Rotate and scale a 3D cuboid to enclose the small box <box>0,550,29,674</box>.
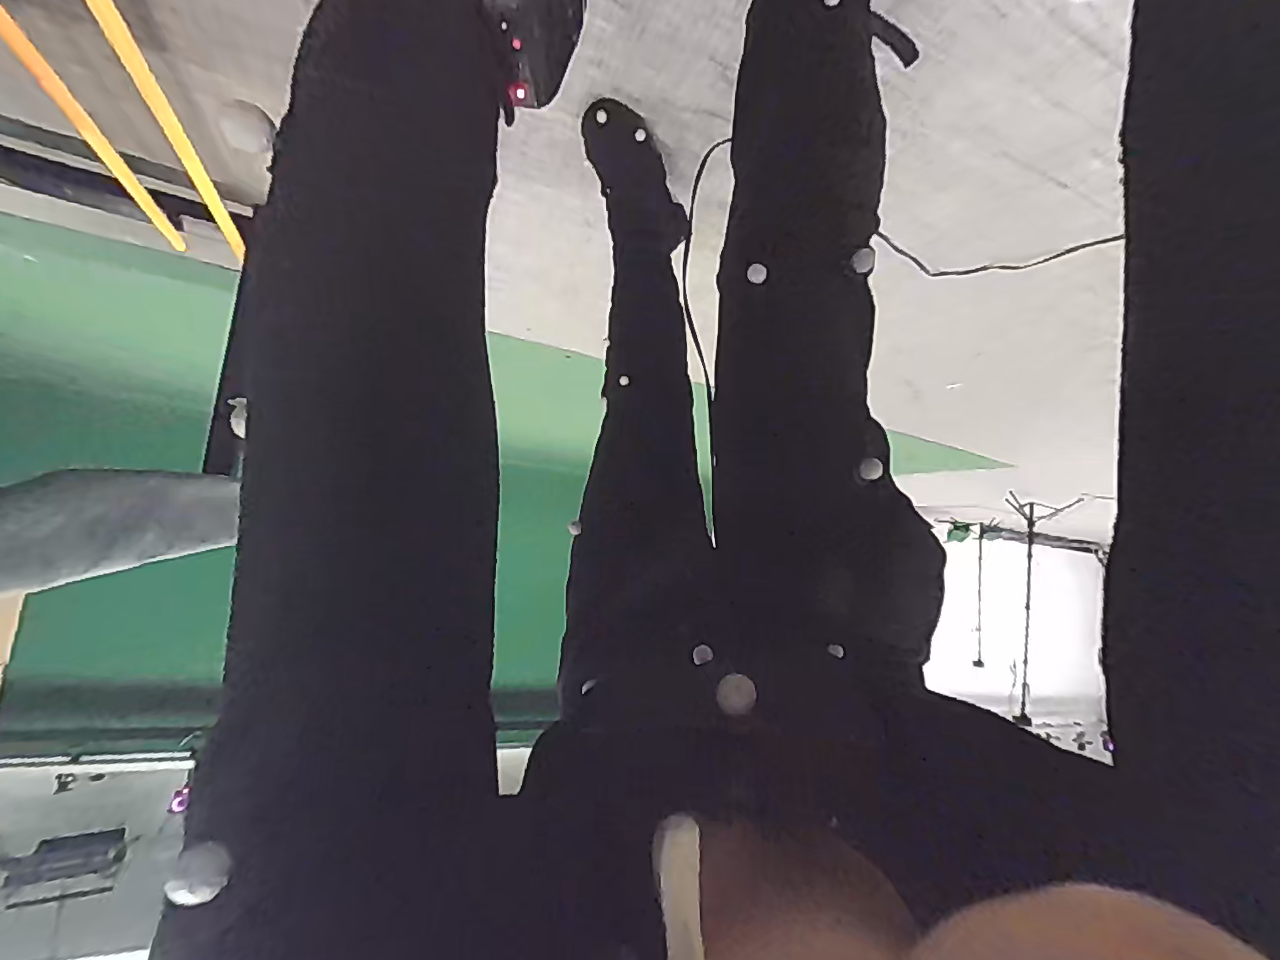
[{"bbox_3d":[-0.905,0.168,0.645,0.168,0.176,0.179,11,173,-23],"label":"small box"}]
